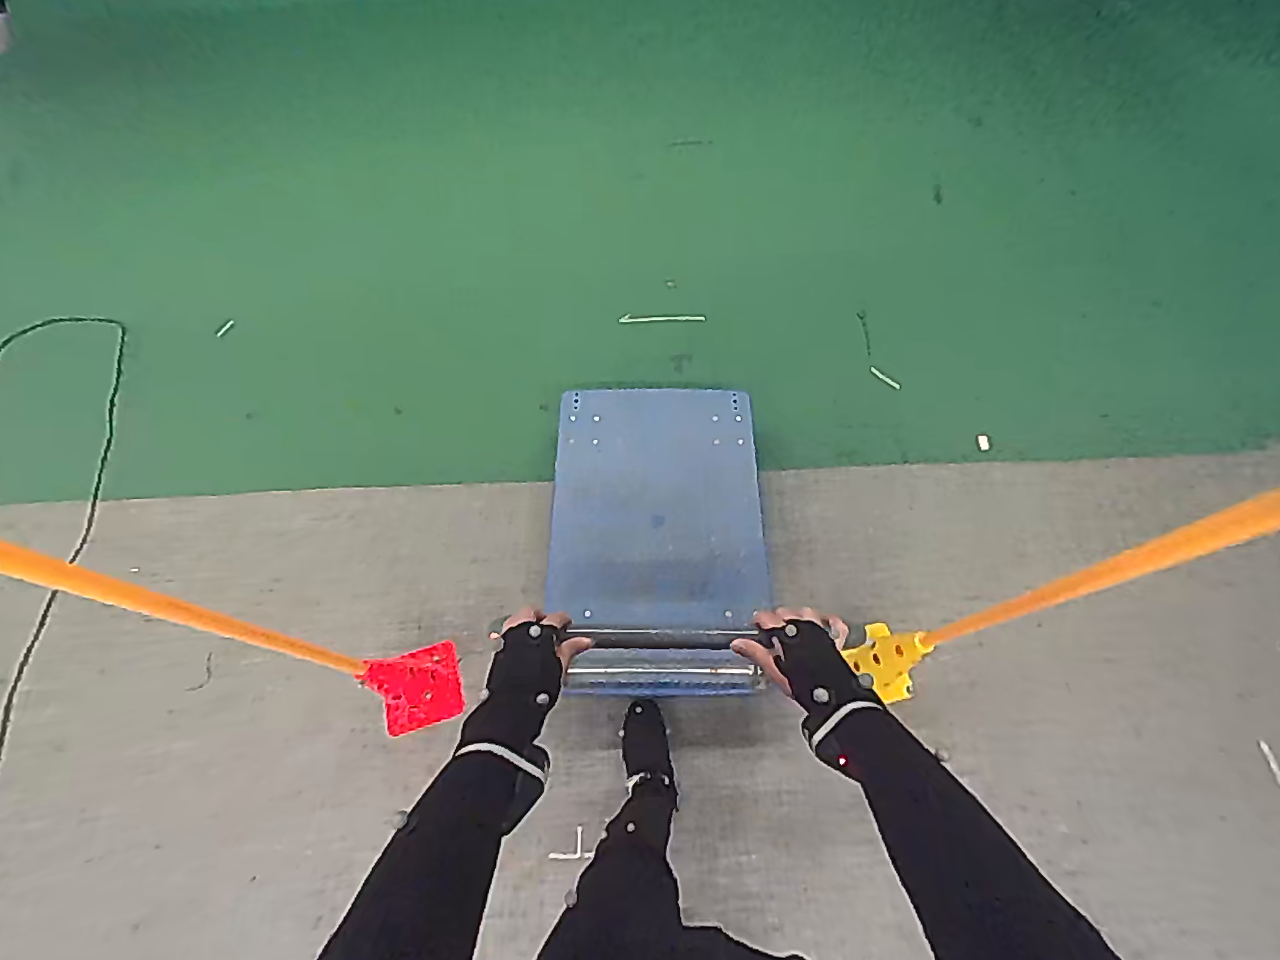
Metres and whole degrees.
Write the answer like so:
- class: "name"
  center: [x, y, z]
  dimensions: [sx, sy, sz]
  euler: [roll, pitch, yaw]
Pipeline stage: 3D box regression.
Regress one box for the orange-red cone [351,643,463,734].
- class: "orange-red cone"
  center: [-0.581, 0.473, 1.280]
  dimensions: [0.199, 0.360, 0.198]
  euler: [-16, 64, -6]
